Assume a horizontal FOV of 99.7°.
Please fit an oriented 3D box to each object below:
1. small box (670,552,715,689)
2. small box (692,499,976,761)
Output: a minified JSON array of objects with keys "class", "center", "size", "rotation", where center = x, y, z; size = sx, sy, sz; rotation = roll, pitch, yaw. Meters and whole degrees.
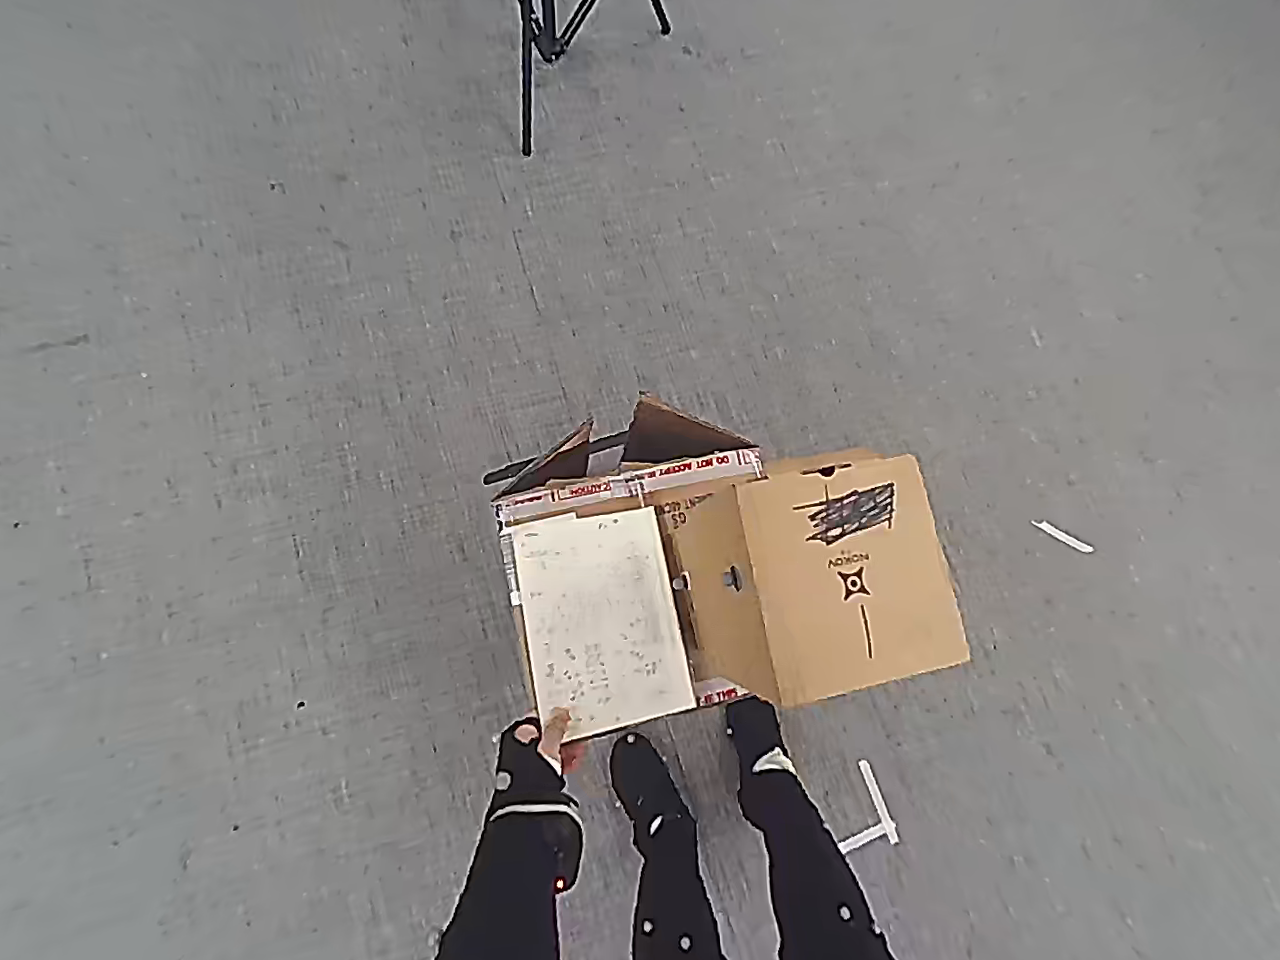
[{"class":"small box","center":[0.151,0.152,0.660],"size":[0.179,0.176,0.168],"rotation":[-13,80,-10]},{"class":"small box","center":[0.156,0.126,0.497],"size":[0.168,0.176,0.179],"rotation":[-8,81,-10]}]
